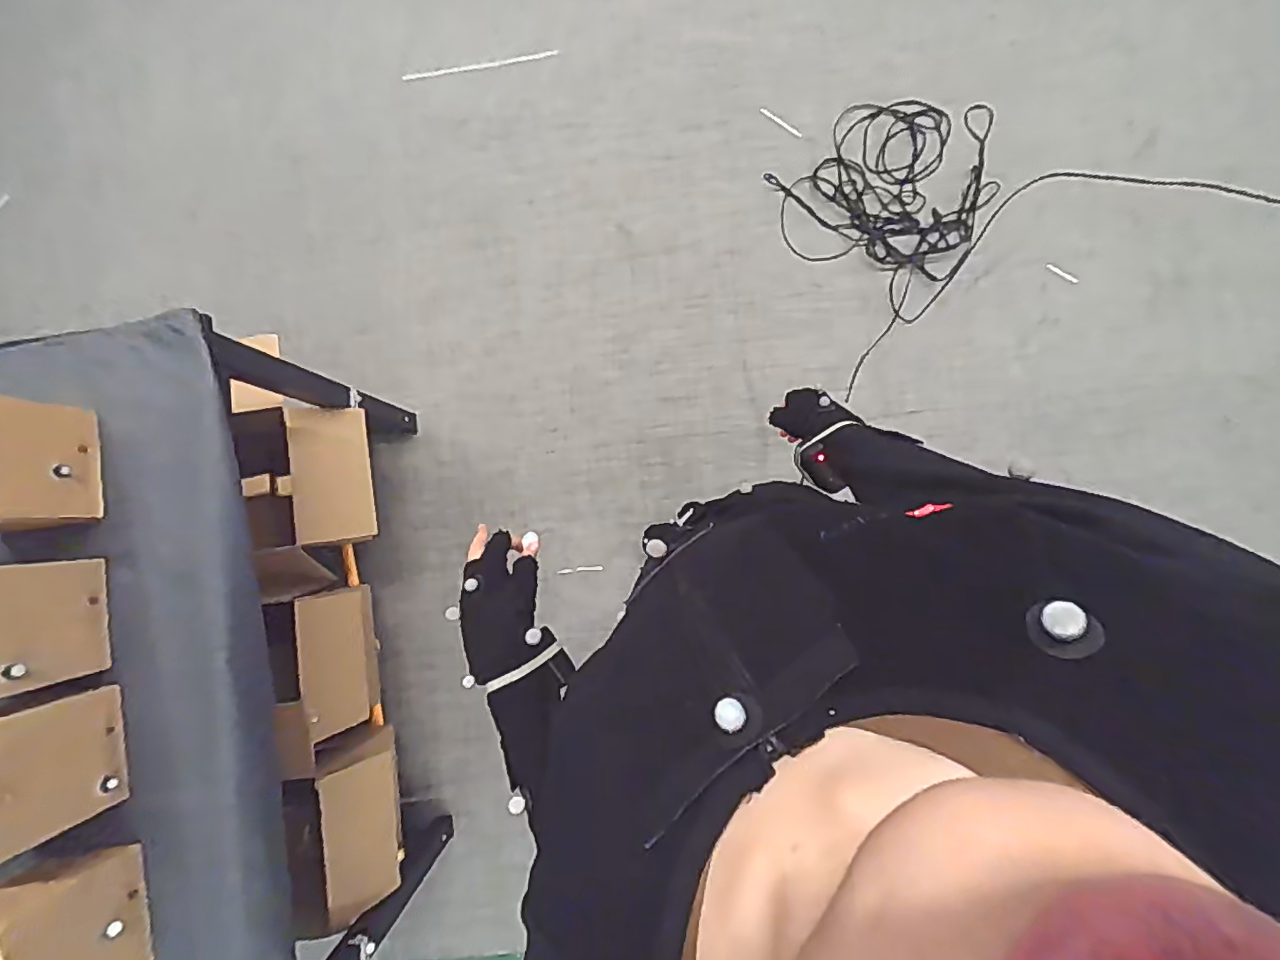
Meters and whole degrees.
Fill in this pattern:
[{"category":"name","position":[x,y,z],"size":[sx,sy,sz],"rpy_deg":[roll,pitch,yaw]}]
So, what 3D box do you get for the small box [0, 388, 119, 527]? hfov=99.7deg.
[{"category":"small box","position":[-0.901,-0.023,0.762],"size":[0.179,0.176,0.168],"rpy_deg":[-9,86,3]}]
